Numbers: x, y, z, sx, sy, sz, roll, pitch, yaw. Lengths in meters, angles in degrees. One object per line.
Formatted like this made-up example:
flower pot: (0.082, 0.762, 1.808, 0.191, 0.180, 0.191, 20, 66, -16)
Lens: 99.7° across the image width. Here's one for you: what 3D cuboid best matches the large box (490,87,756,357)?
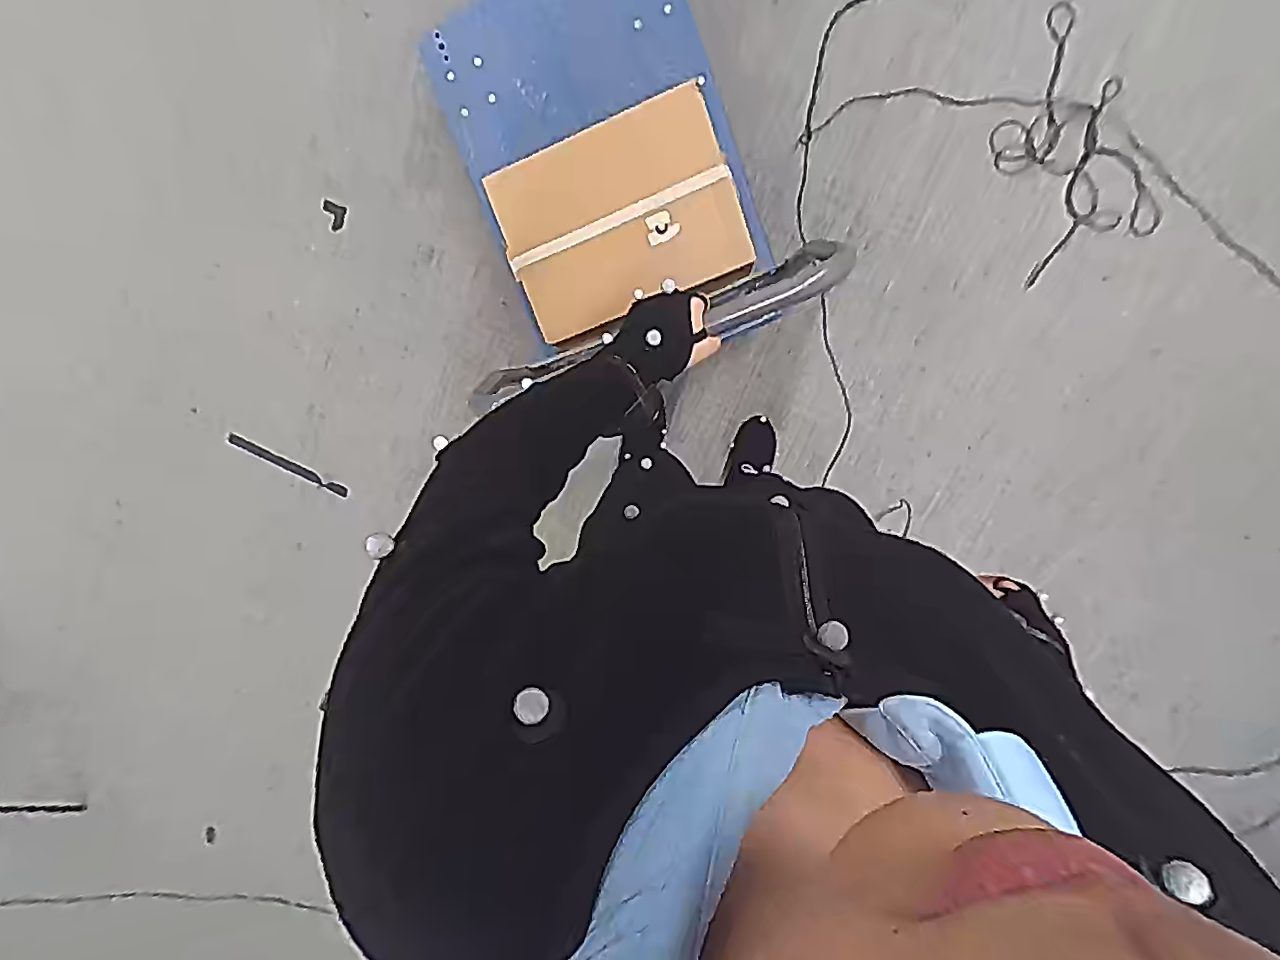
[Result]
large box: (-0.021, -0.475, 1.098, 0.408, 0.320, 0.320, -20, 98, 8)
